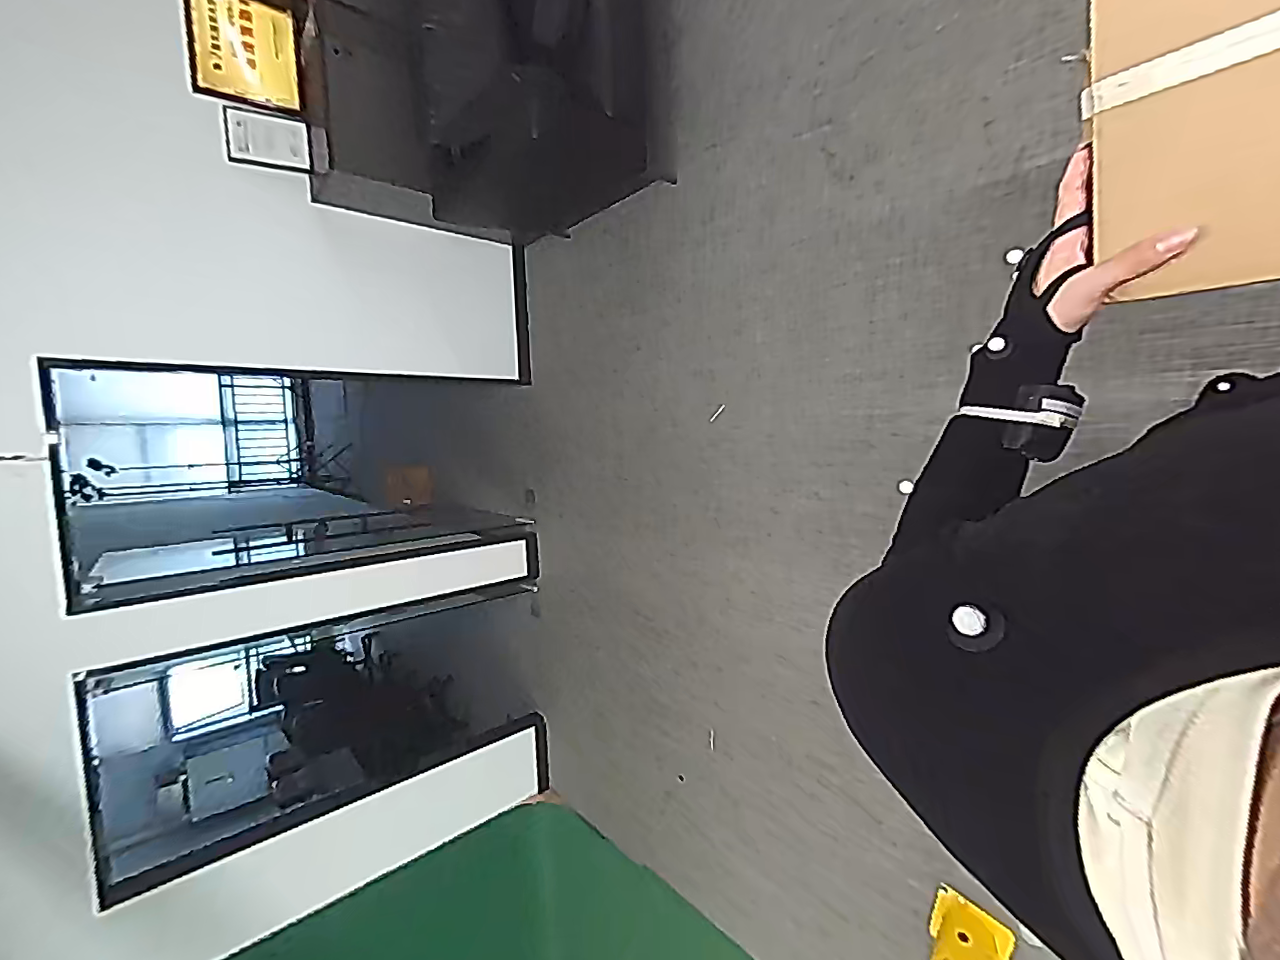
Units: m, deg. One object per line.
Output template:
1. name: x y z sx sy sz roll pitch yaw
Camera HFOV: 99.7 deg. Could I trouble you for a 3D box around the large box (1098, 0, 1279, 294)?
1. large box: 0.595 -0.341 0.367 0.408 0.320 0.320 3 111 48
